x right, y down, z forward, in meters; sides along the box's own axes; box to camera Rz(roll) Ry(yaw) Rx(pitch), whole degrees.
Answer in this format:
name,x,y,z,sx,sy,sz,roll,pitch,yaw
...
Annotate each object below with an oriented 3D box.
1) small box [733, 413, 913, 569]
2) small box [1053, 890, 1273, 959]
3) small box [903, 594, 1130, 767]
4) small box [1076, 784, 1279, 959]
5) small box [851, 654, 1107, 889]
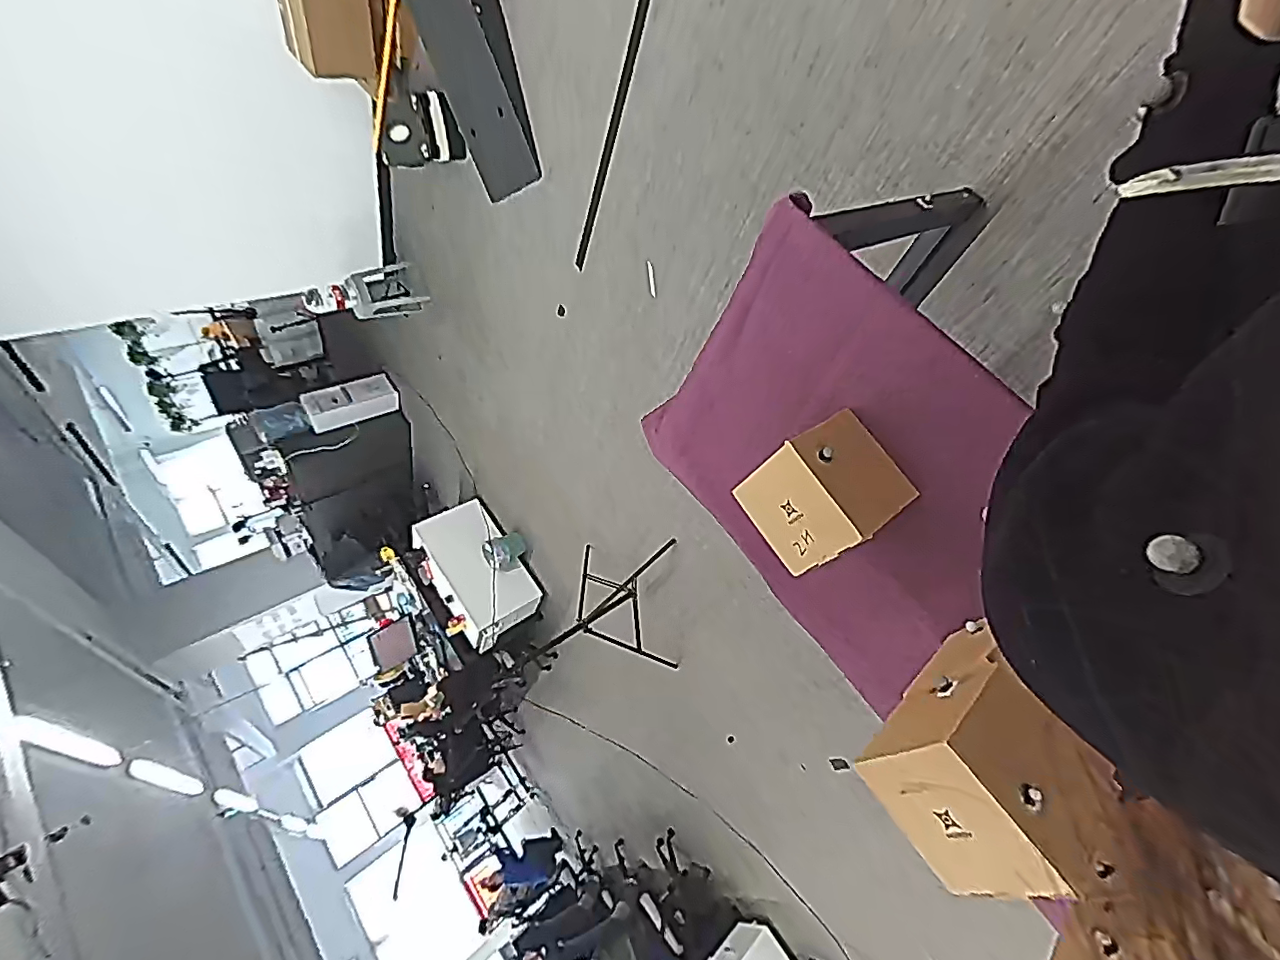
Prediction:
name,x,y,z,sx,sy,sz,roll,pitch,yaw
small box,0.292,0.011,0.873,0.179,0.176,0.168,55,146,11
small box,0.583,0.579,0.580,0.179,0.176,0.168,48,144,22
small box,0.524,0.293,0.758,0.179,0.176,0.168,50,144,20
small box,0.703,0.509,0.667,0.168,0.176,0.179,49,144,20
small box,0.408,0.348,0.658,0.179,0.176,0.168,52,144,18
